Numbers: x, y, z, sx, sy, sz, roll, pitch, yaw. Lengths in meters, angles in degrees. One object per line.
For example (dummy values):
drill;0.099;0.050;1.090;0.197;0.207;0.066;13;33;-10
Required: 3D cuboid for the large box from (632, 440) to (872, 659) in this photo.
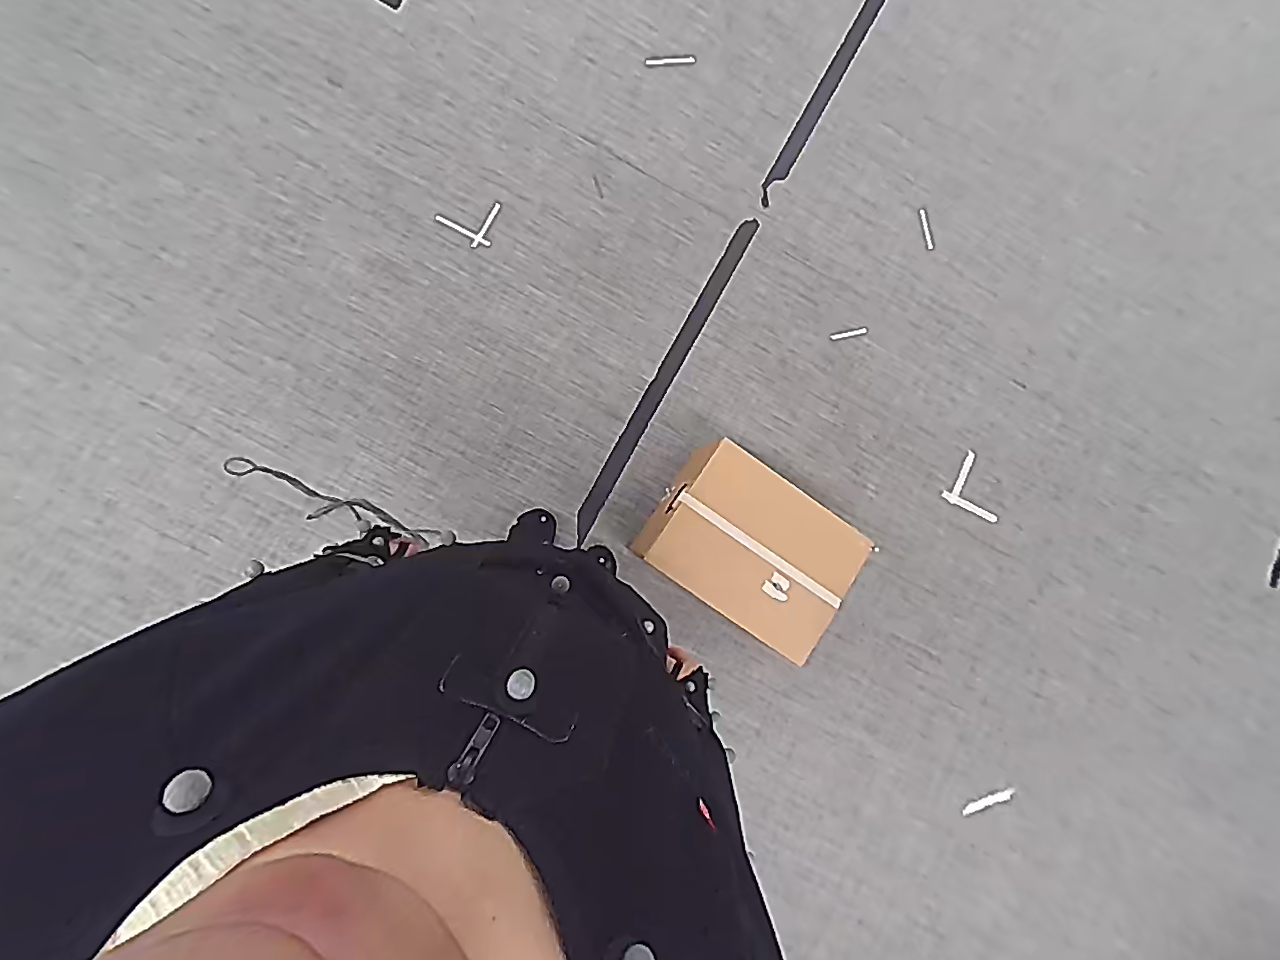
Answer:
large box;0.239;0.154;1.283;0.408;0.320;0.320;34;84;-4
